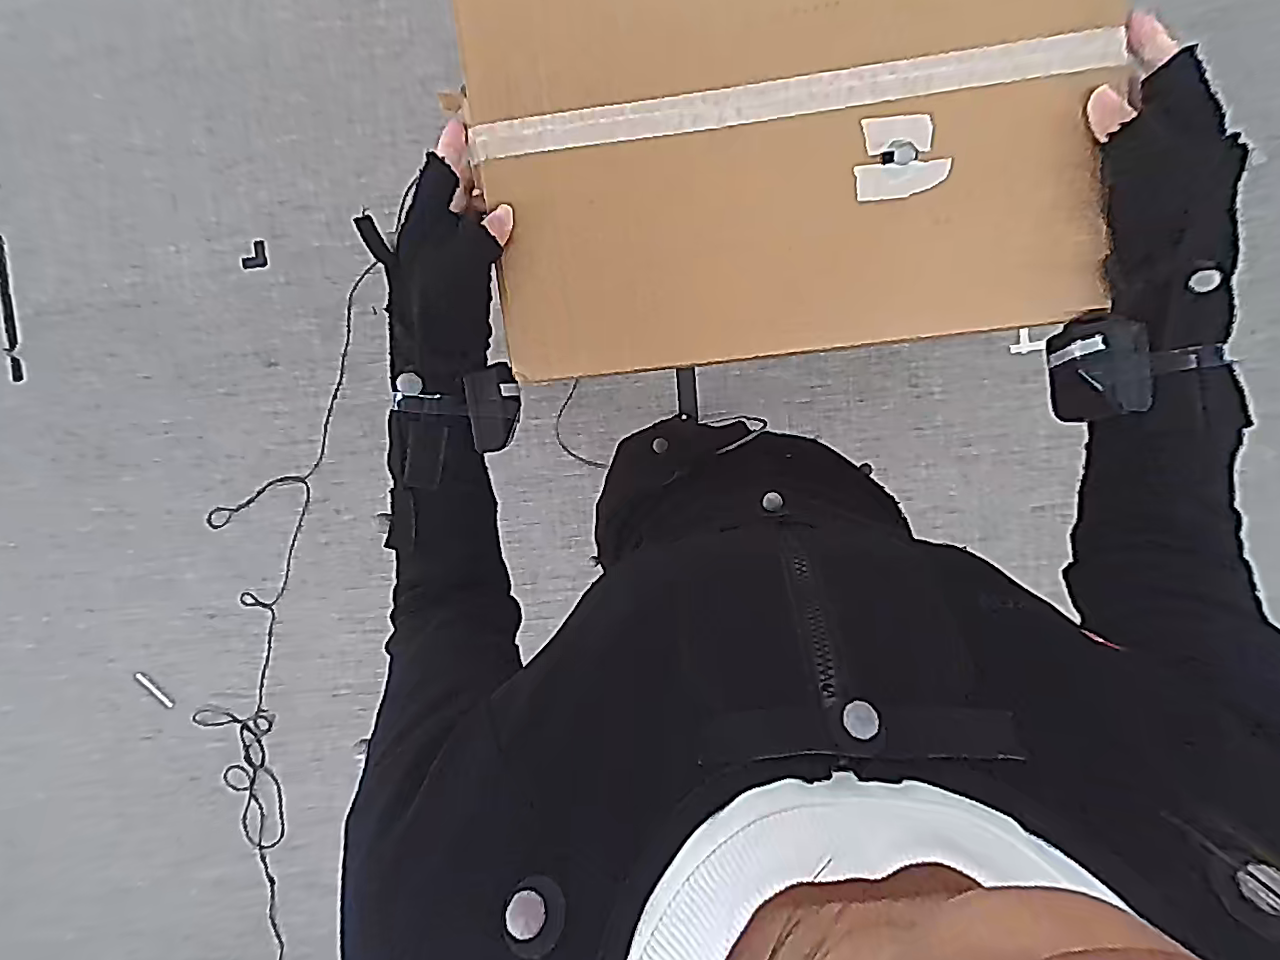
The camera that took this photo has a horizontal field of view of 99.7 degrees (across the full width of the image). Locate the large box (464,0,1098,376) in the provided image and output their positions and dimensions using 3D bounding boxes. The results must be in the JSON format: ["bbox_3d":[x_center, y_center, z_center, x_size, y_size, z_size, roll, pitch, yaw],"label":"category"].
[{"bbox_3d":[0.096,-0.279,0.503,0.408,0.320,0.320,-6,102,3],"label":"large box"}]
